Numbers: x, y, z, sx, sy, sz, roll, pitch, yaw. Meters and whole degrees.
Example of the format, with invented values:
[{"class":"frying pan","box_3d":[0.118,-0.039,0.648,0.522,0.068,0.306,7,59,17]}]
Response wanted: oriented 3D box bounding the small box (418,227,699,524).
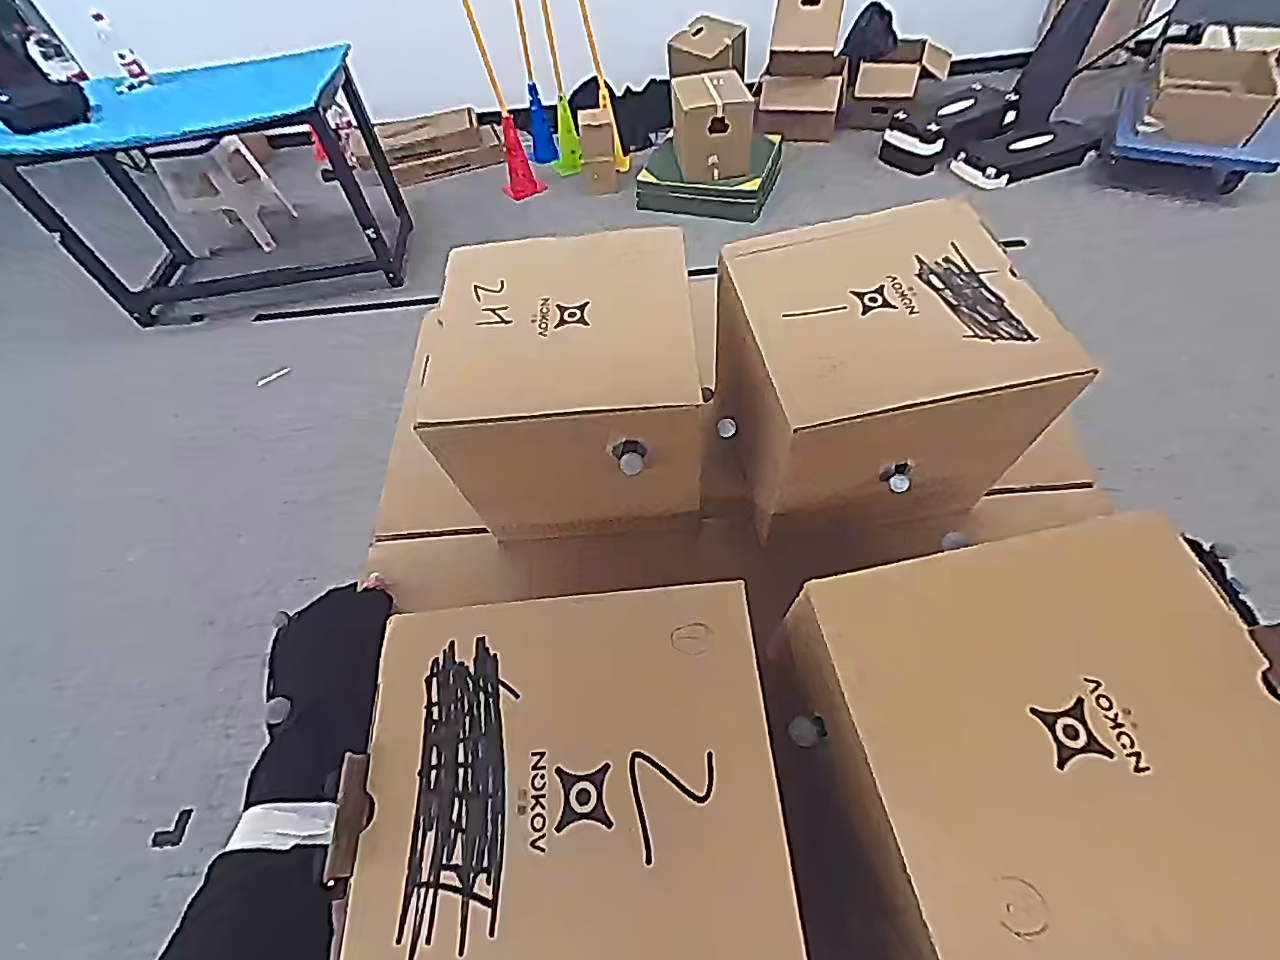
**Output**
[{"class":"small box","box_3d":[-0.046,-0.074,0.438,0.179,0.176,0.168,-3,59,4]}]
